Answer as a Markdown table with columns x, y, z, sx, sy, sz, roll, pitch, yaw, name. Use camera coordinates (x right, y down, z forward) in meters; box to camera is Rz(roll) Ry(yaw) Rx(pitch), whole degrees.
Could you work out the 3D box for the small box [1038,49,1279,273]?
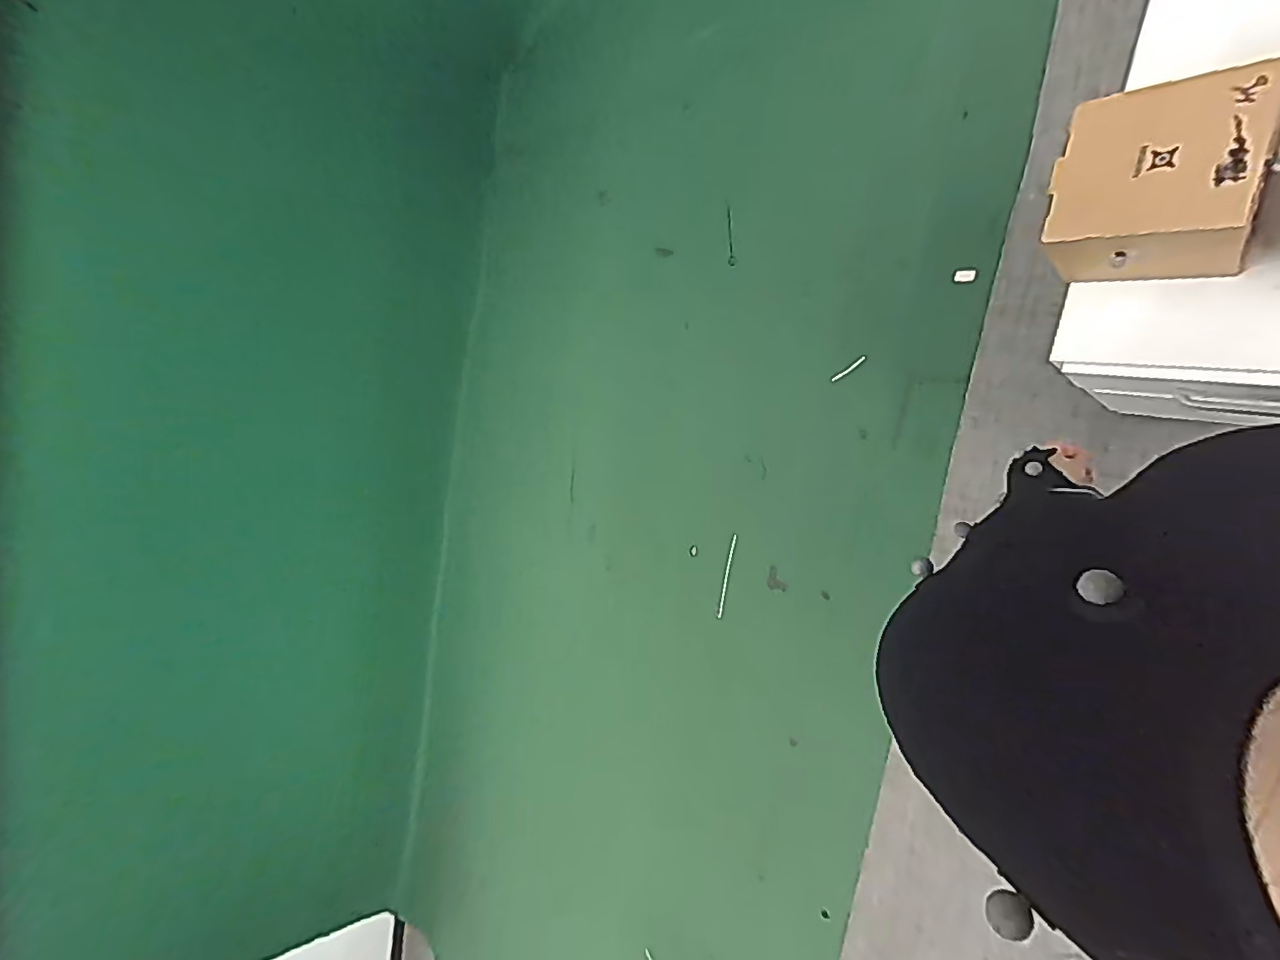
| x | y | z | sx | sy | sz | roll | pitch | yaw | name |
| --- | --- | --- | --- | --- | --- | --- | --- | --- | --- |
| 0.624 | -0.358 | 0.652 | 0.179 | 0.176 | 0.168 | 18 | 102 | 46 | small box |
